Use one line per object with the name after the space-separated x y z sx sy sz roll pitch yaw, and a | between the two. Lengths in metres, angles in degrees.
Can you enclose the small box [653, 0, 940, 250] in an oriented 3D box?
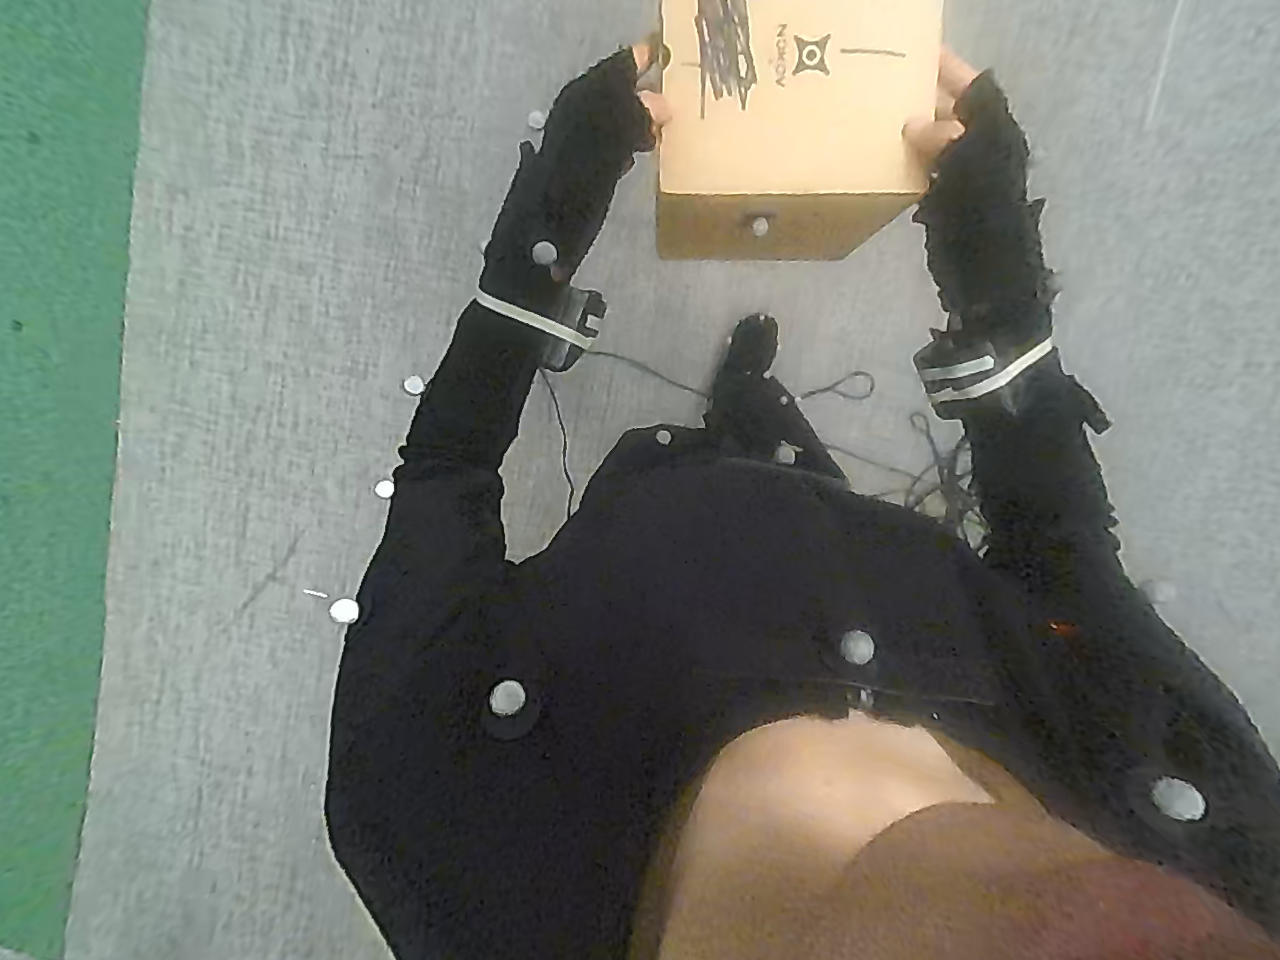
0.100 -0.284 0.415 0.179 0.176 0.168 0 98 1 | small box
